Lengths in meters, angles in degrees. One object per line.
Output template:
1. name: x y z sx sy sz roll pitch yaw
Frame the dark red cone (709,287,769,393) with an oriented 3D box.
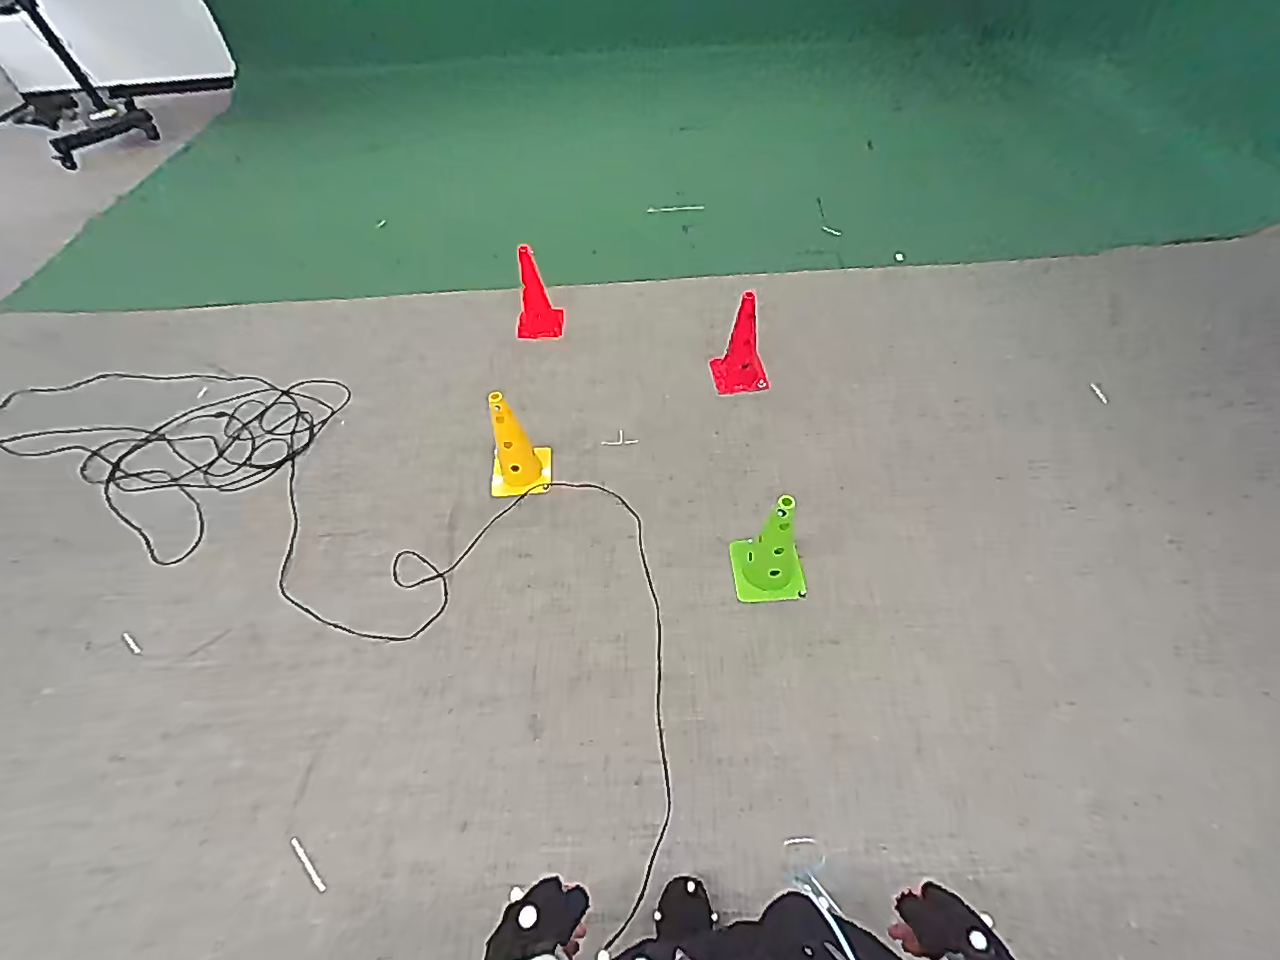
1. dark red cone: 0.371 -0.515 1.962 0.202 0.394 0.201 -8 51 -2

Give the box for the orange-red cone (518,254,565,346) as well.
1. orange-red cone: -0.443 -0.758 2.235 0.198 0.360 0.199 -4 53 2

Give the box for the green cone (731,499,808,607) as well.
1. green cone: 0.366 0.169 1.462 0.202 0.368 0.200 -5 52 1
